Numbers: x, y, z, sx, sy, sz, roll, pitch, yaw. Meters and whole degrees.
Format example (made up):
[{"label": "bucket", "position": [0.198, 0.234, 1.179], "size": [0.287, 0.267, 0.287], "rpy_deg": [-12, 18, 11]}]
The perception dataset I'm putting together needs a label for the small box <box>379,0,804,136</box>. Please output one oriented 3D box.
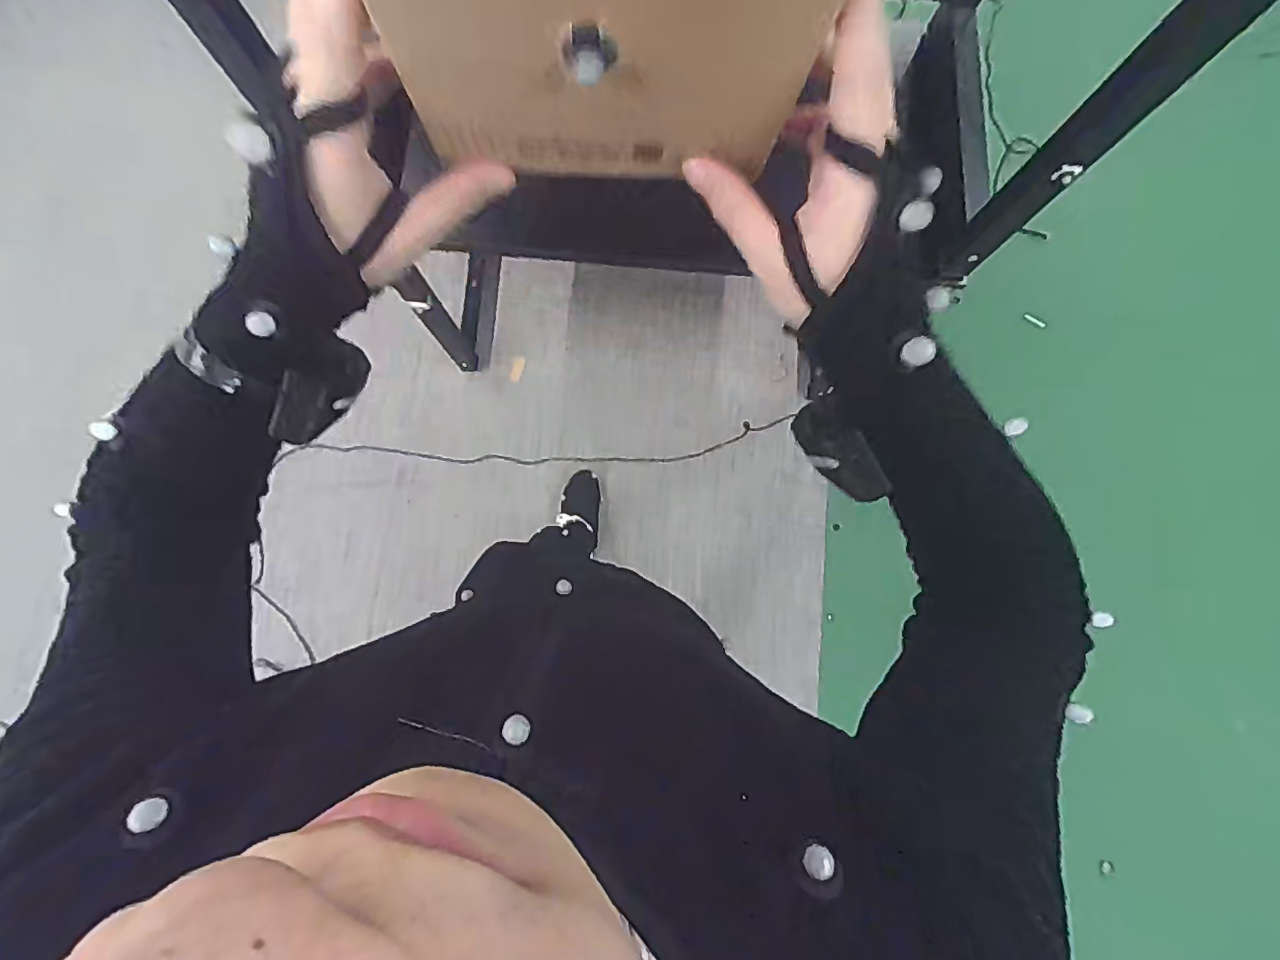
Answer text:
[{"label": "small box", "position": [-0.016, -0.255, 0.187], "size": [0.168, 0.176, 0.179], "rpy_deg": [0, 89, -5]}]
